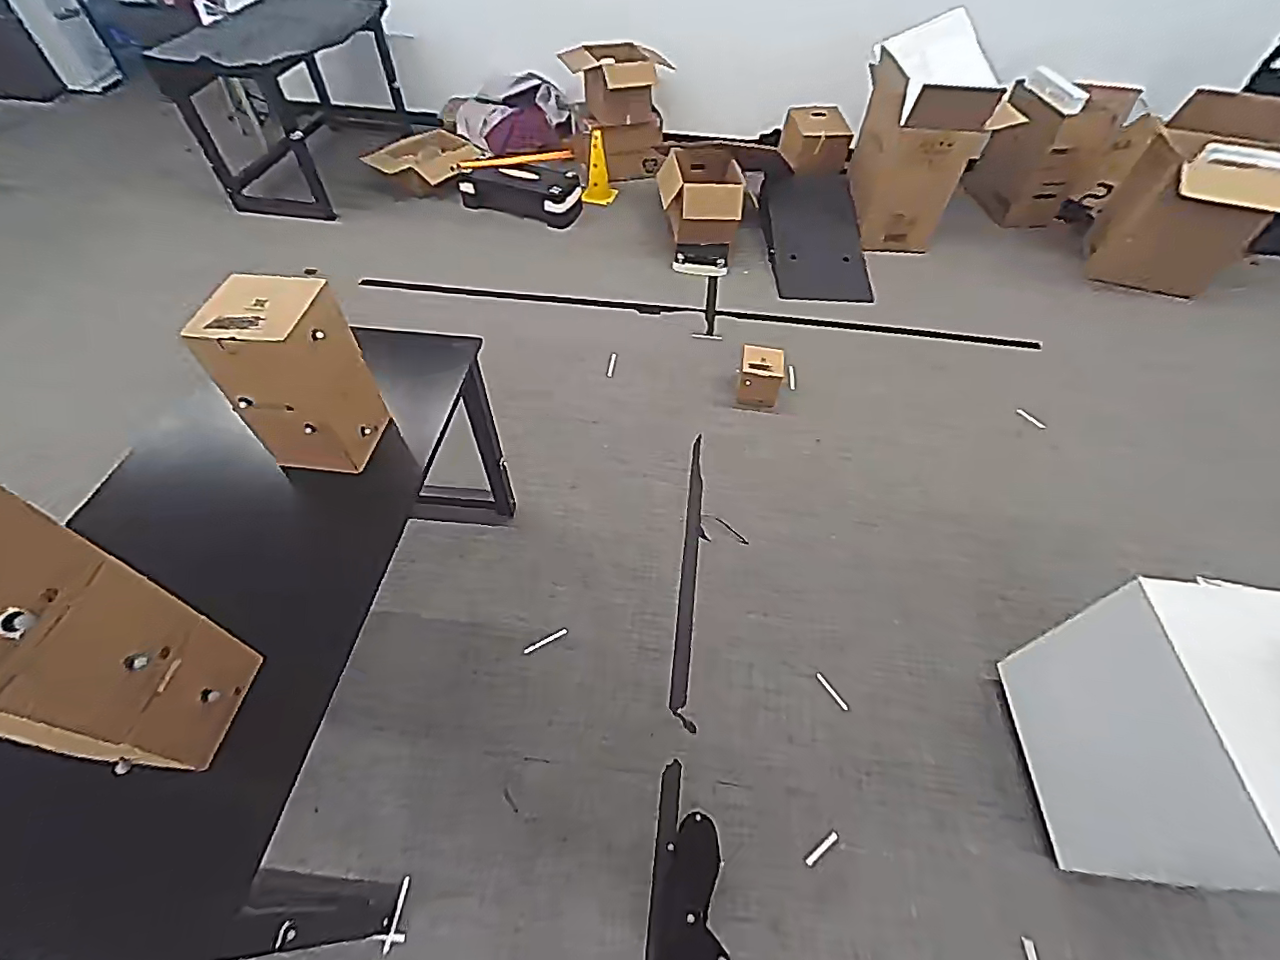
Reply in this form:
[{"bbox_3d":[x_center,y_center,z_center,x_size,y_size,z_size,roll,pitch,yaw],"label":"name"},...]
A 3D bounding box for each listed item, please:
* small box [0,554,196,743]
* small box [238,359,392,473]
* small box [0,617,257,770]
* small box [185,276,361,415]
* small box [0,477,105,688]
[{"bbox_3d":[-0.680,0.188,0.616,0.179,0.176,0.168,5,53,2],"label":"small box"},{"bbox_3d":[-0.631,-0.130,1.076,0.179,0.176,0.168,6,52,2],"label":"small box"},{"bbox_3d":[-0.684,0.290,0.746,0.179,0.176,0.168,5,52,1],"label":"small box"},{"bbox_3d":[-0.620,-0.231,0.946,0.168,0.176,0.179,3,52,0],"label":"small box"},{"bbox_3d":[-0.674,0.088,0.488,0.179,0.176,0.168,5,53,1],"label":"small box"}]
